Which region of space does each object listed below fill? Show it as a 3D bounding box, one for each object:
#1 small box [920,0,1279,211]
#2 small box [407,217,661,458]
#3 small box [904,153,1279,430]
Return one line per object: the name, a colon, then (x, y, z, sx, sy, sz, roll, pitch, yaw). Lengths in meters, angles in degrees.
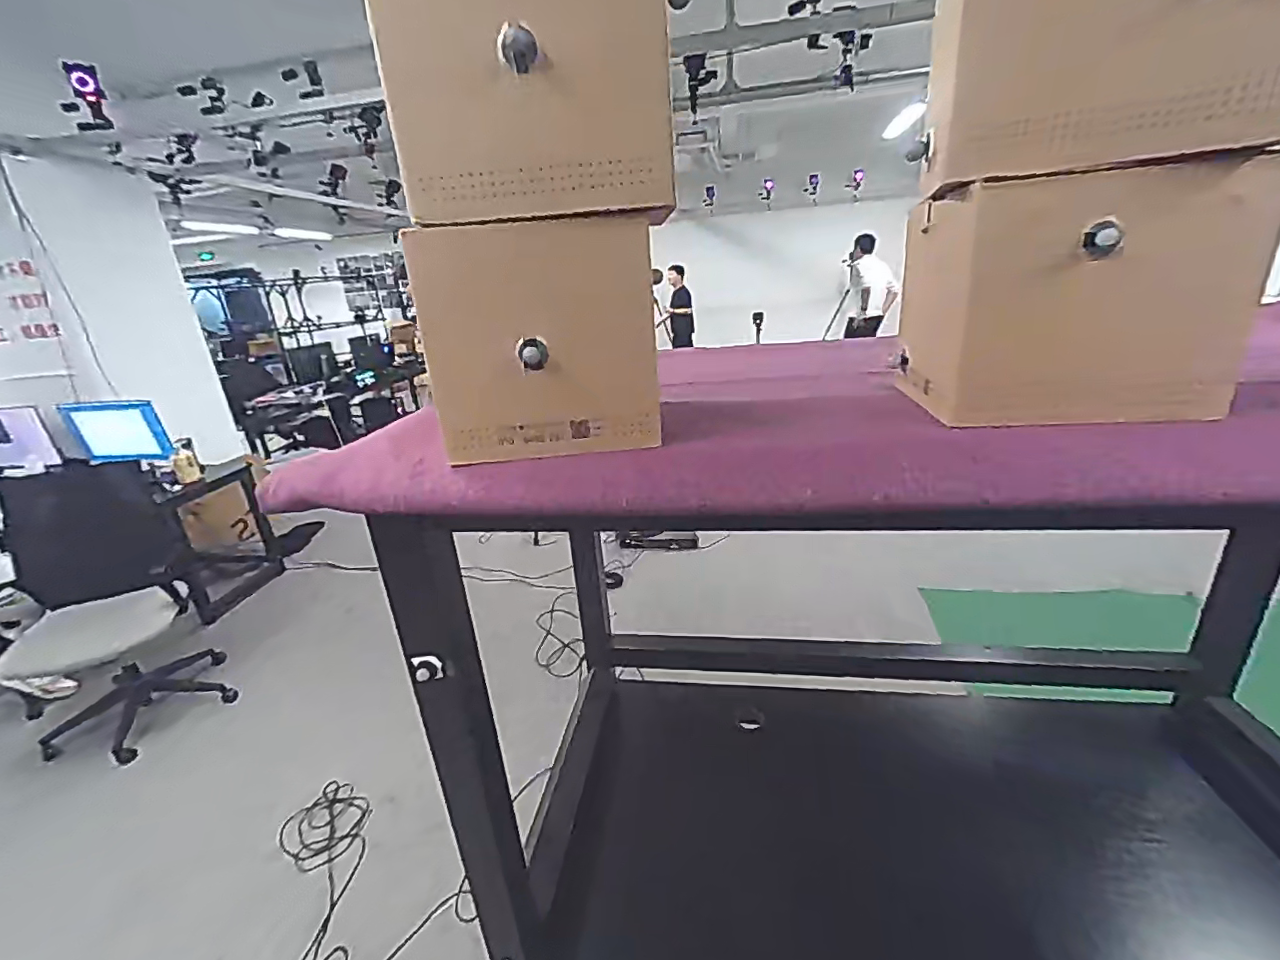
small box: (0.306, -0.290, 0.375, 0.179, 0.176, 0.168, 2, 20, 21)
small box: (-0.073, -0.120, 0.464, 0.168, 0.176, 0.179, -4, 21, -2)
small box: (0.324, -0.139, 0.431, 0.179, 0.176, 0.168, 0, 21, 11)
